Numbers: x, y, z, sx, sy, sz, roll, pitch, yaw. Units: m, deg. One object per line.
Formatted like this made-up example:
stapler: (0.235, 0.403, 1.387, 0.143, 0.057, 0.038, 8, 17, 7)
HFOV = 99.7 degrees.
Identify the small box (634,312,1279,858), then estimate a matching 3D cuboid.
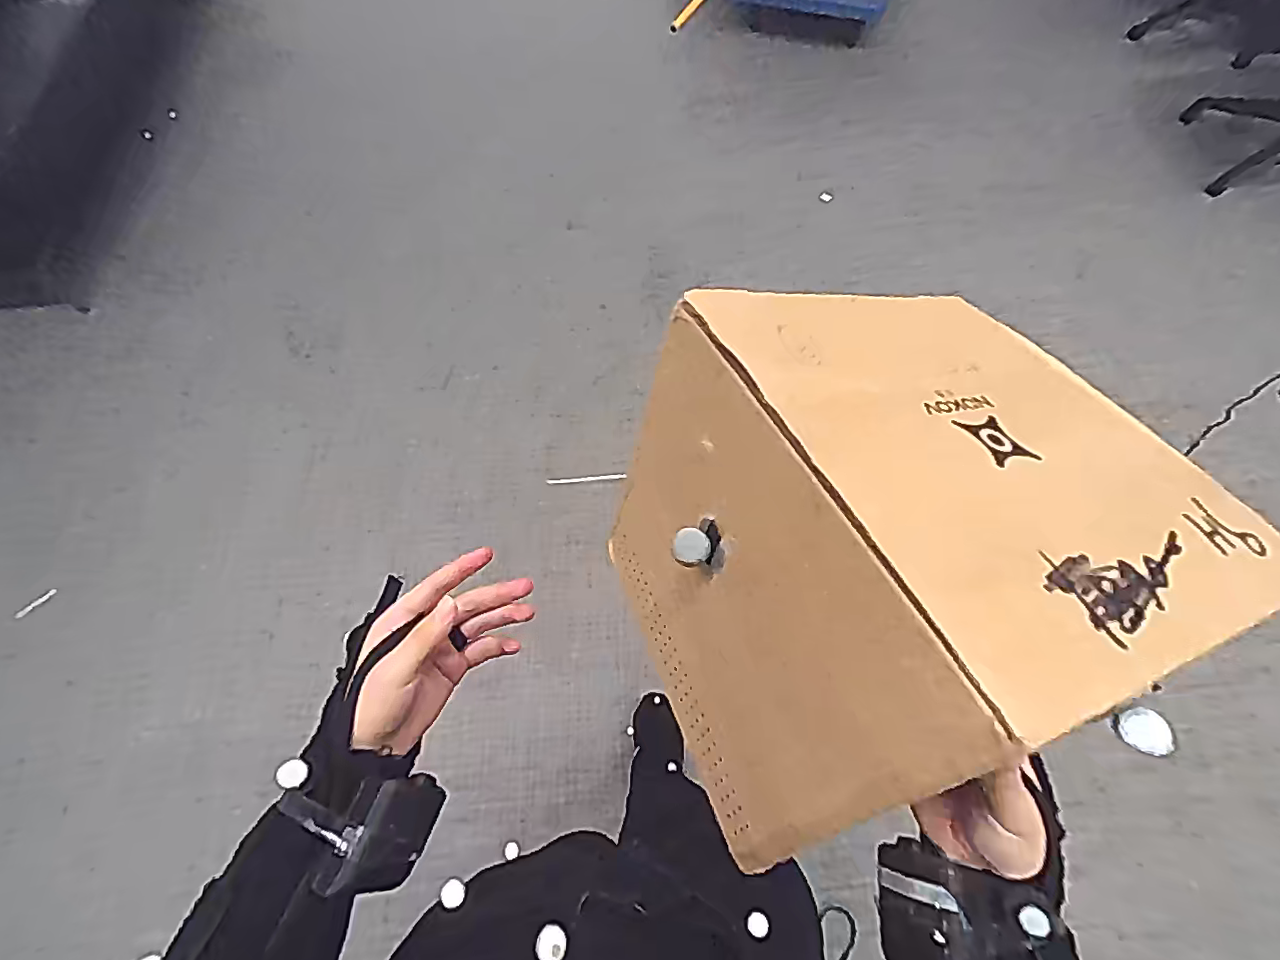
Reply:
small box: (0.111, 0.040, 0.258, 0.168, 0.176, 0.179, -9, 50, -23)
